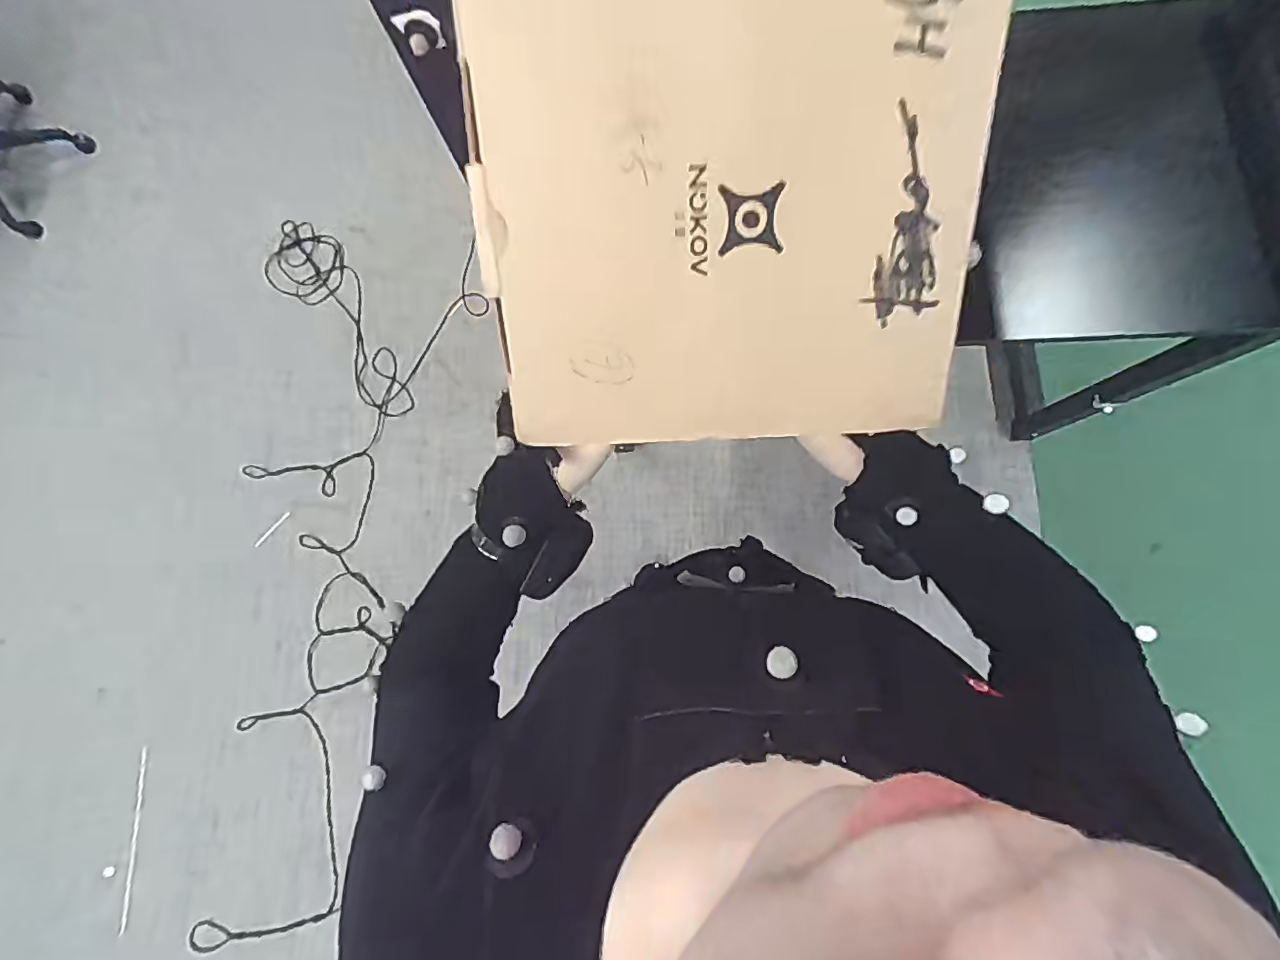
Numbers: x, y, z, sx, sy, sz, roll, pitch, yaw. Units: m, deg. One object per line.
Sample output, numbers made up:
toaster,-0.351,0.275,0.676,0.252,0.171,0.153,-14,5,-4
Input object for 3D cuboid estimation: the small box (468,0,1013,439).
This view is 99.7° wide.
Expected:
small box,0.037,-0.125,0.271,0.179,0.176,0.168,-1,114,4
